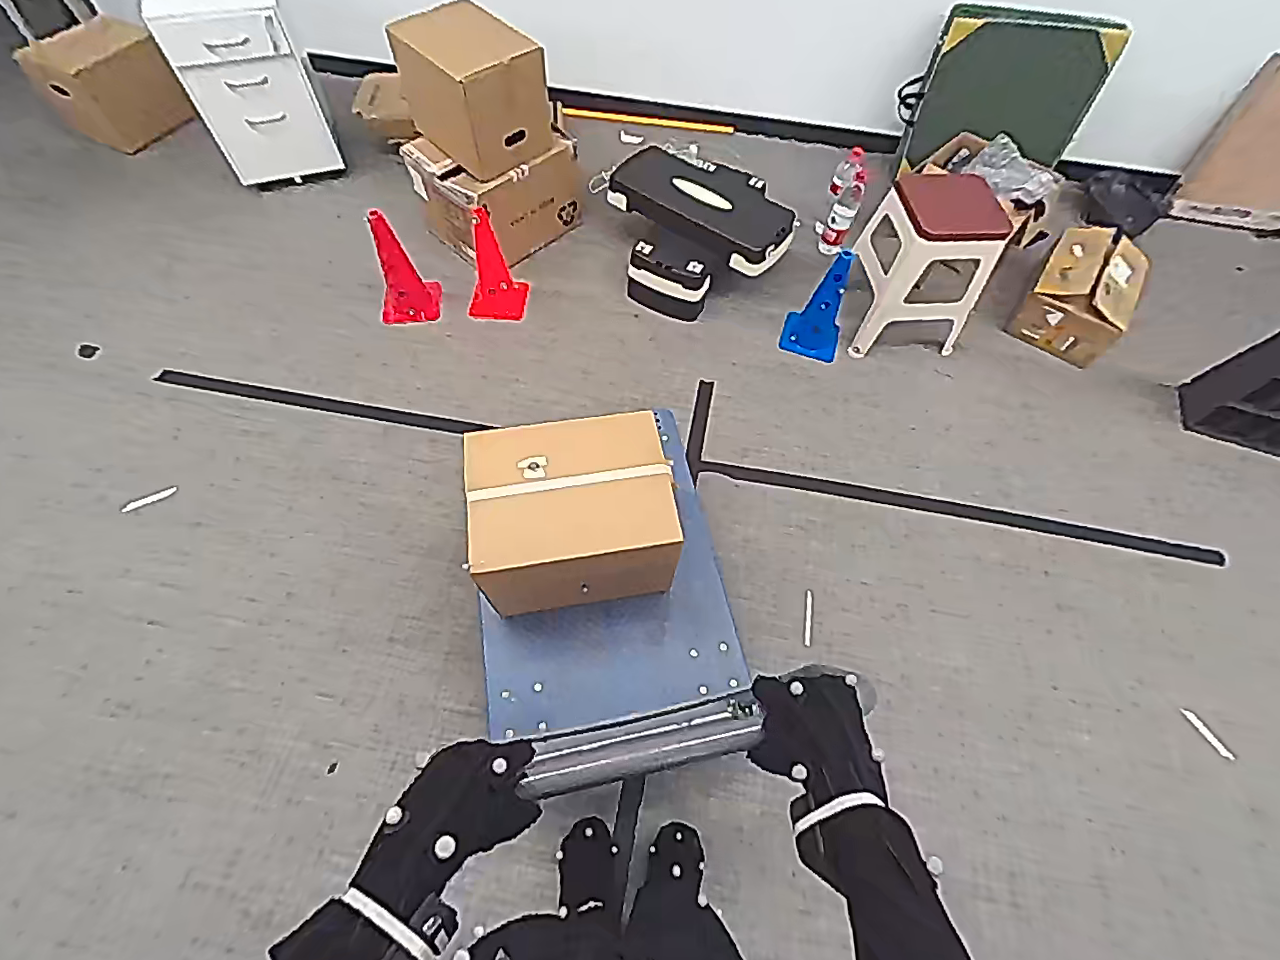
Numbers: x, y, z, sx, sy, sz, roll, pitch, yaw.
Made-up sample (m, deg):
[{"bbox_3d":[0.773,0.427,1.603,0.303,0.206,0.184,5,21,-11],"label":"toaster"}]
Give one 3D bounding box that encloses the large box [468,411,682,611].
[{"bbox_3d":[-0.142,0.079,1.217,0.408,0.320,0.320,-8,62,-6],"label":"large box"}]
